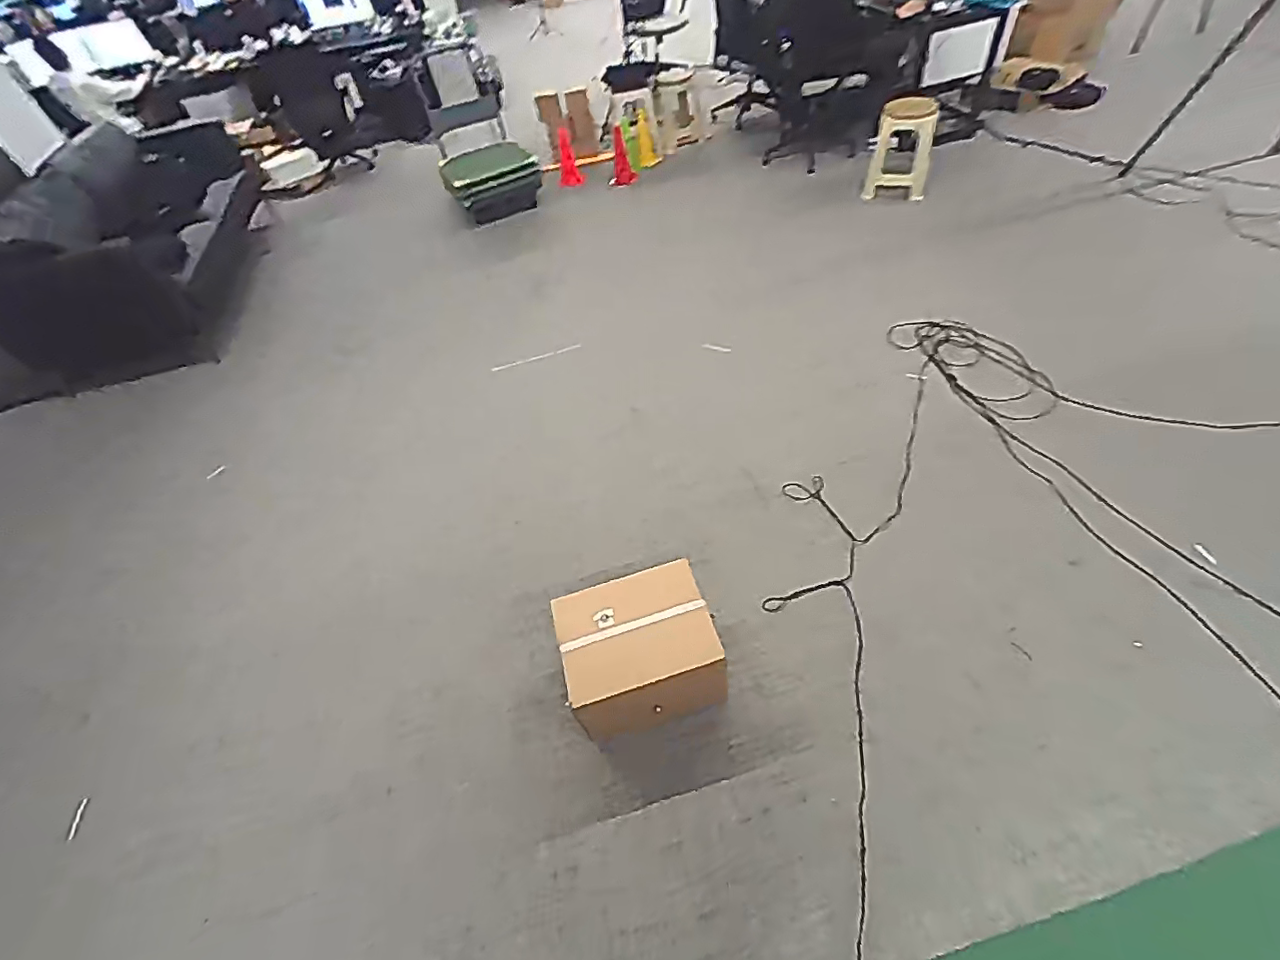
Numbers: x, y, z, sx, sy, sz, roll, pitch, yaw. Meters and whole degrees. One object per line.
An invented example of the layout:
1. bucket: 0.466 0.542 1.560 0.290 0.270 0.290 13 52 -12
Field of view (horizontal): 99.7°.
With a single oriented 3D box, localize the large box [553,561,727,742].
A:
1. large box: 0.006 0.494 1.550 0.408 0.320 0.320 -18 49 -5
